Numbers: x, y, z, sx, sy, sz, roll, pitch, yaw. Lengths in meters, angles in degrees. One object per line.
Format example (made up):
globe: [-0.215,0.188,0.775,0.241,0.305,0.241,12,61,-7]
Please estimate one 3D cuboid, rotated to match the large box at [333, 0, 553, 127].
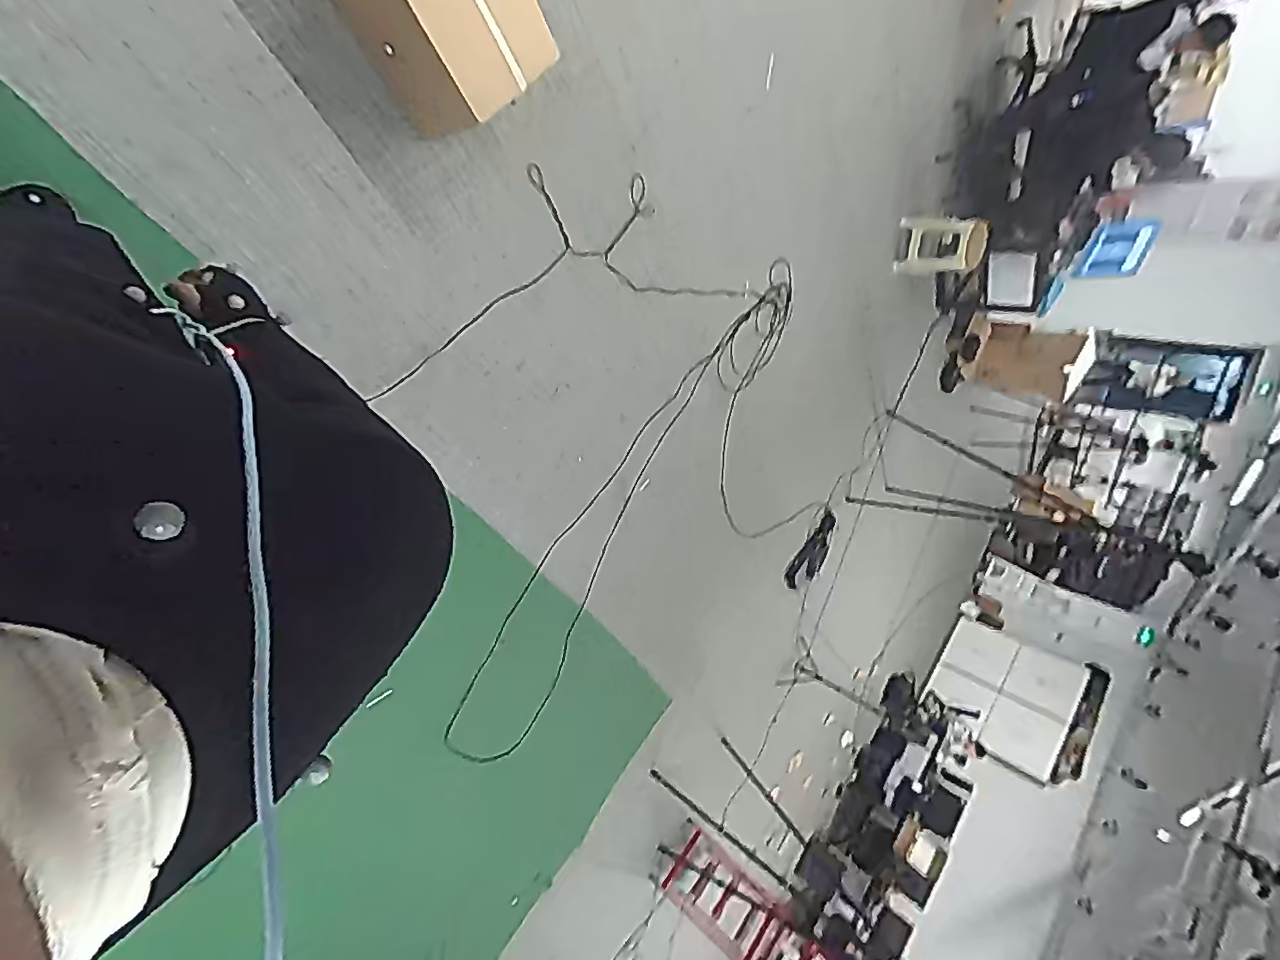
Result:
large box: [-0.491,-1.147,1.280,0.320,0.320,0.408,-54,136,-16]
